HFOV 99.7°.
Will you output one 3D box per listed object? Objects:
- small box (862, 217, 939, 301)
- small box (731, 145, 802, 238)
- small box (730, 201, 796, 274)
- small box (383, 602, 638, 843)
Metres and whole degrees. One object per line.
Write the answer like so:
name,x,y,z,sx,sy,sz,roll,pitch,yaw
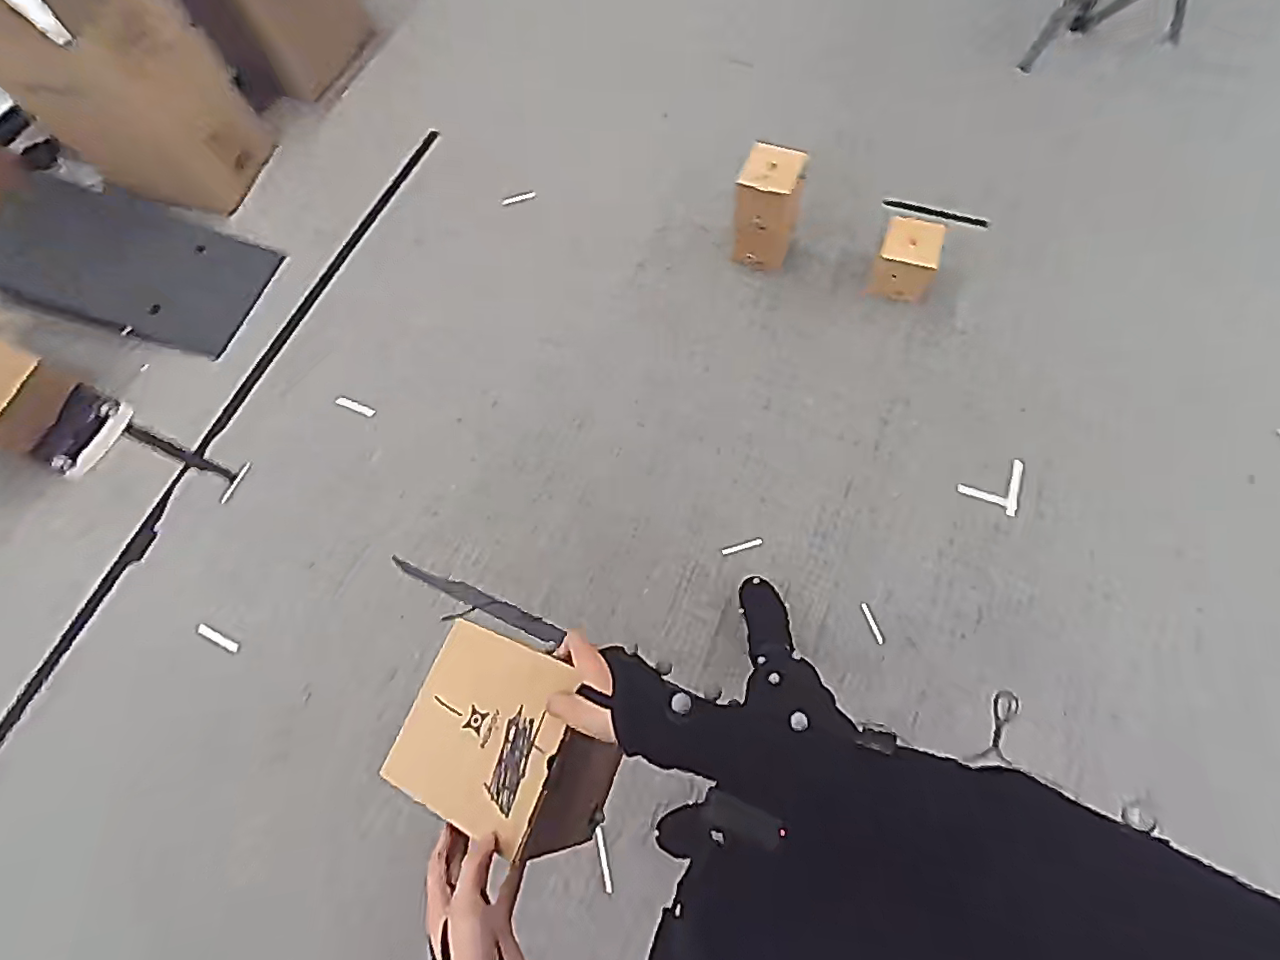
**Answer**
small box,0.841,-0.714,1.759,0.168,0.176,0.179,17,71,12
small box,0.389,-0.903,1.698,0.168,0.176,0.179,22,74,14
small box,0.414,-0.846,1.850,0.168,0.176,0.179,23,73,14
small box,-0.123,0.254,0.586,0.179,0.176,0.168,13,68,27
